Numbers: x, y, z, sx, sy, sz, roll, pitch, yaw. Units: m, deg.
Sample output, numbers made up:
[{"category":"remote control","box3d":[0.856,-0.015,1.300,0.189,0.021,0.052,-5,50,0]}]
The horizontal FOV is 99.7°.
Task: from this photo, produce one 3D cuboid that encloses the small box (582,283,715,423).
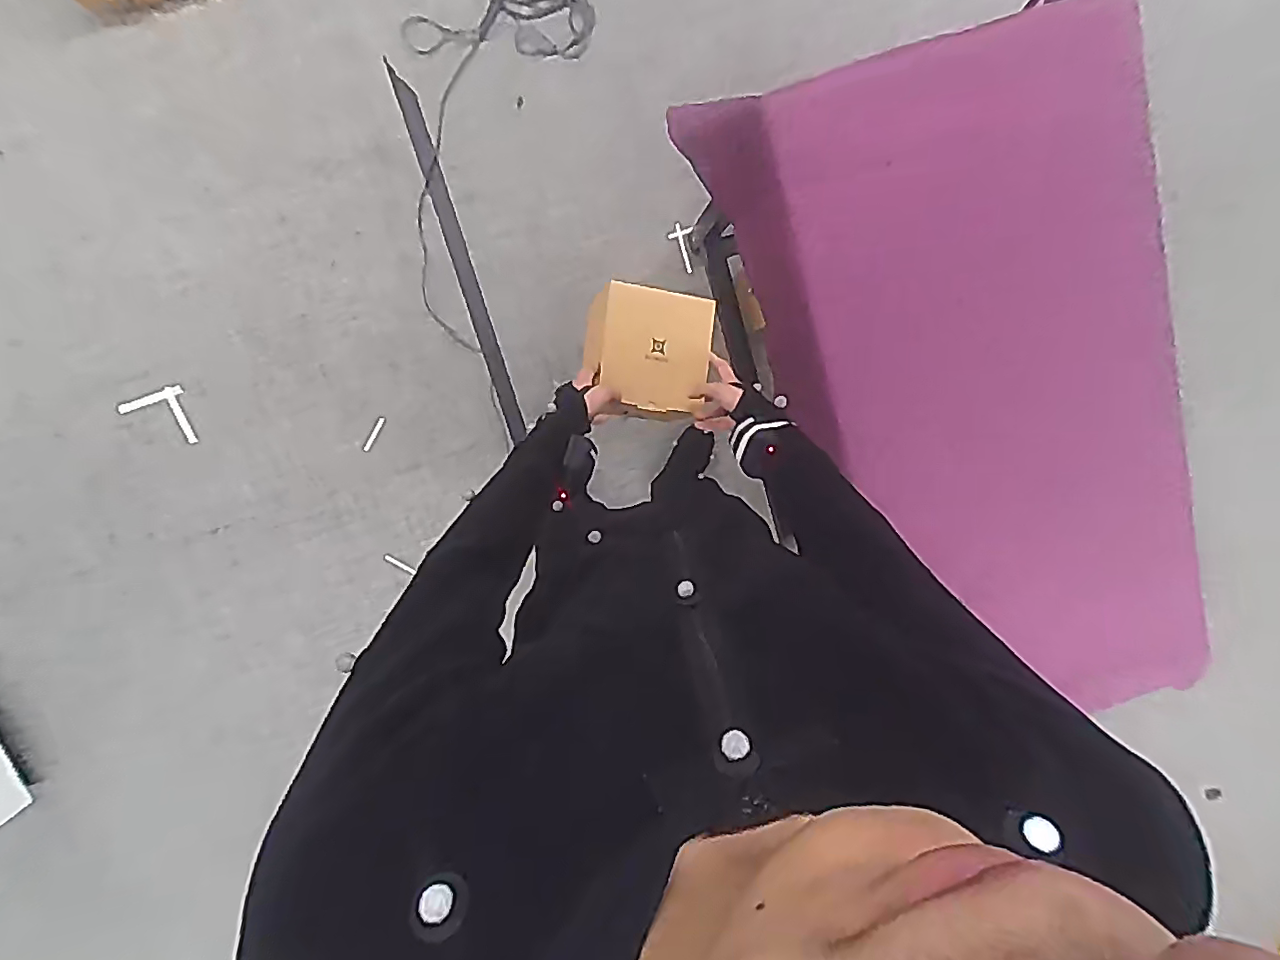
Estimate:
[{"category":"small box","box3d":[0.005,-0.191,0.867,0.168,0.176,0.179,5,92,-16]}]
